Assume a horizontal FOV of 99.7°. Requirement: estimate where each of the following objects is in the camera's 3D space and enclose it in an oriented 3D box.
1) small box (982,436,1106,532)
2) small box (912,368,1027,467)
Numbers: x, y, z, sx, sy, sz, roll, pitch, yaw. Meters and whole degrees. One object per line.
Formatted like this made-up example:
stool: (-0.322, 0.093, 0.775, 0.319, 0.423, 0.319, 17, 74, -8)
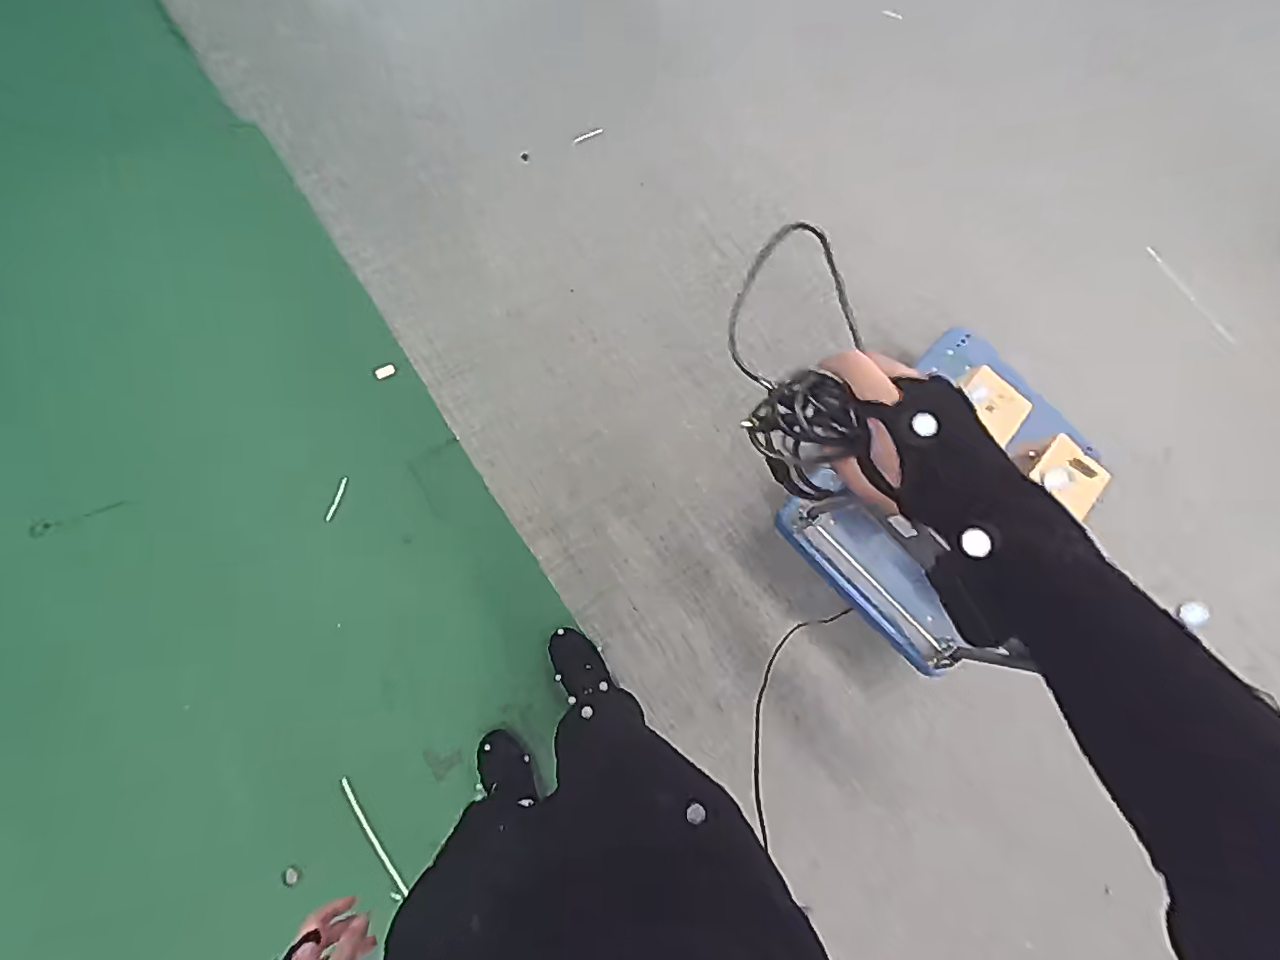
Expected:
small box: (1.054, 0.018, 1.426, 0.168, 0.176, 0.179, 43, 75, 5)
small box: (0.867, -0.158, 1.444, 0.168, 0.176, 0.179, 42, 74, 3)
